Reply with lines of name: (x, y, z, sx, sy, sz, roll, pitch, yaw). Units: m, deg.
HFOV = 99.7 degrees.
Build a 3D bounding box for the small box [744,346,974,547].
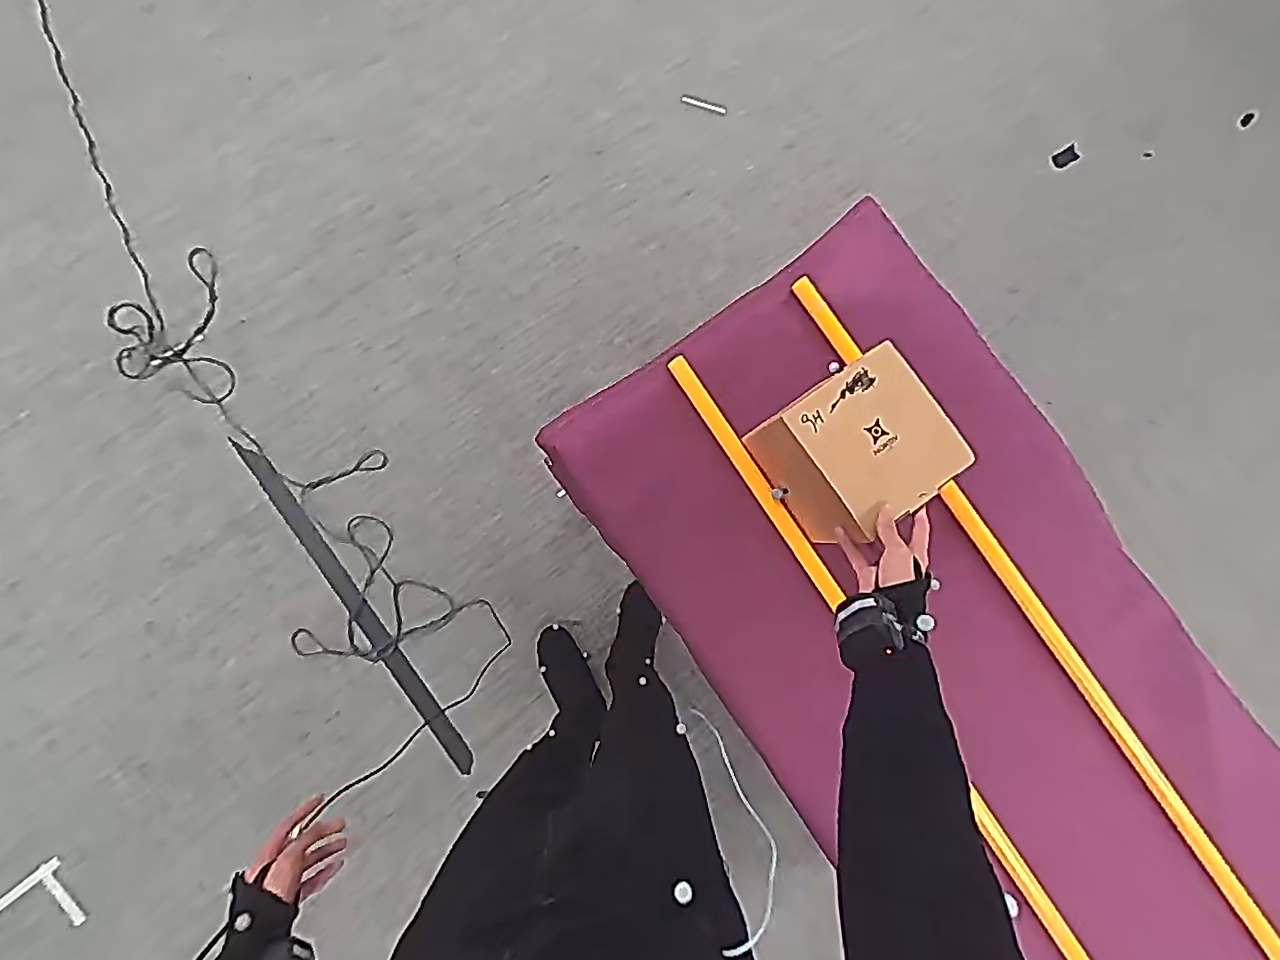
small box: (0.262, -0.034, 0.687, 0.168, 0.176, 0.179, -34, 89, -9)
